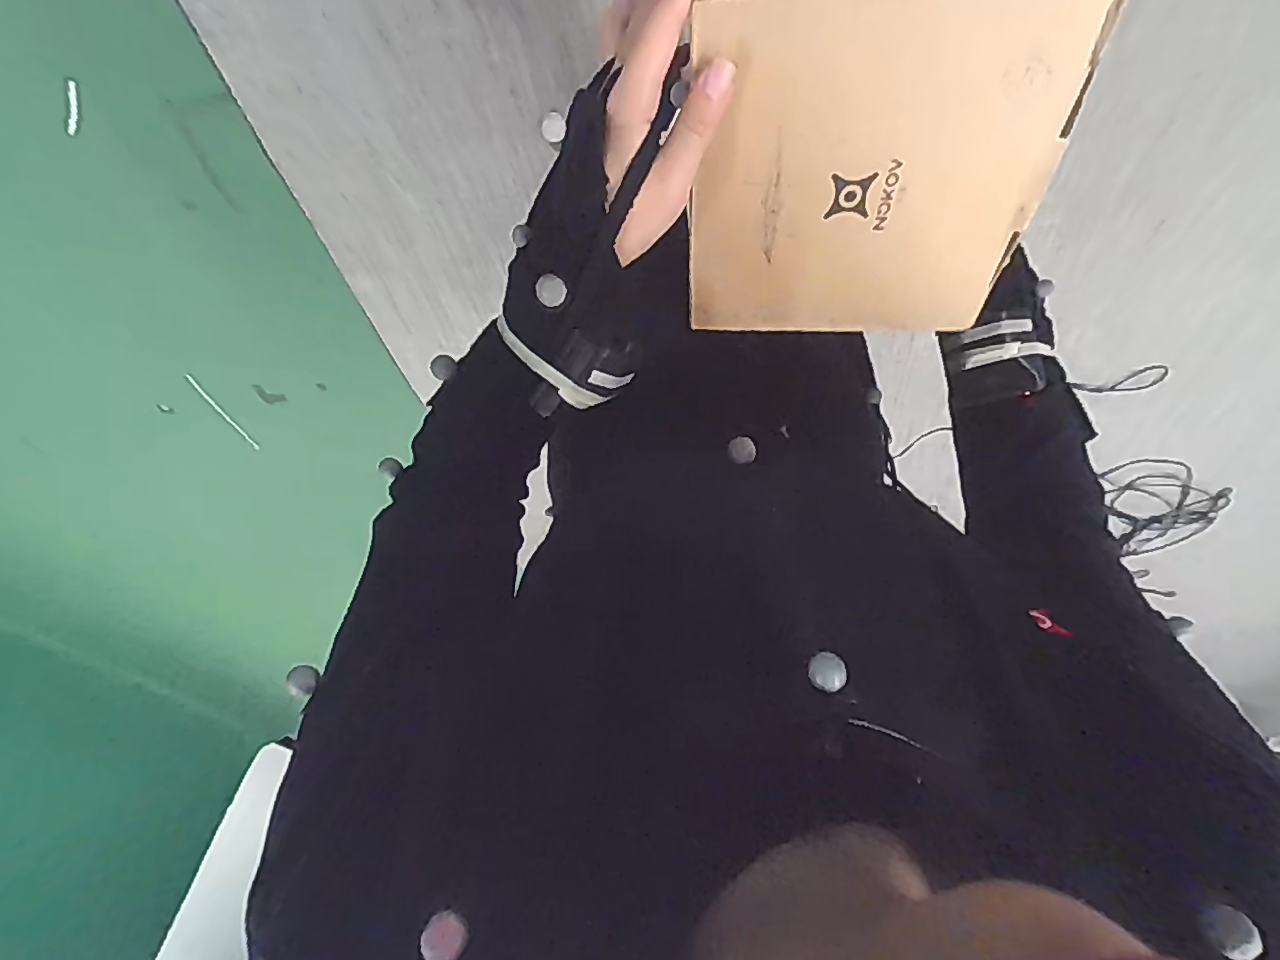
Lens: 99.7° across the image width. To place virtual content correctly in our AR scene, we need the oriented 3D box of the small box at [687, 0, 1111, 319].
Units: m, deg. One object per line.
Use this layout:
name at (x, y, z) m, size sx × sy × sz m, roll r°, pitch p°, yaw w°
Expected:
small box at (0.121, -0.218, 0.333) m, size 0.179 × 0.176 × 0.168 m, roll 3°, pitch 139°, yaw 9°
